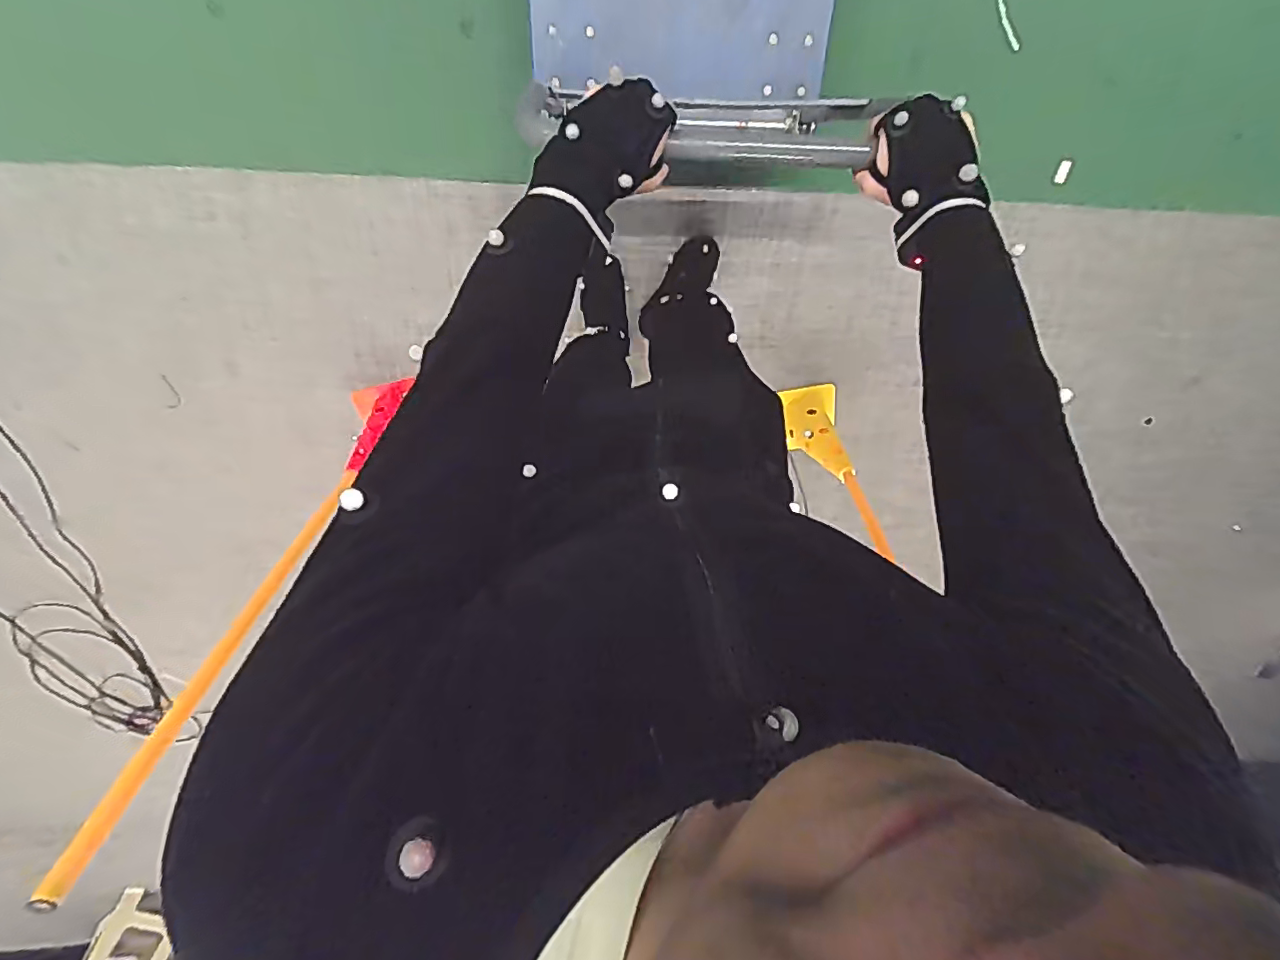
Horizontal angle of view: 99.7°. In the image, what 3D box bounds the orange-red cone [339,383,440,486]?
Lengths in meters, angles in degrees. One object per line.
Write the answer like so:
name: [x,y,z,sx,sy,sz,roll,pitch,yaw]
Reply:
orange-red cone: [-0.683,-0.086,1.392,0.199,0.360,0.198,-12,119,4]
